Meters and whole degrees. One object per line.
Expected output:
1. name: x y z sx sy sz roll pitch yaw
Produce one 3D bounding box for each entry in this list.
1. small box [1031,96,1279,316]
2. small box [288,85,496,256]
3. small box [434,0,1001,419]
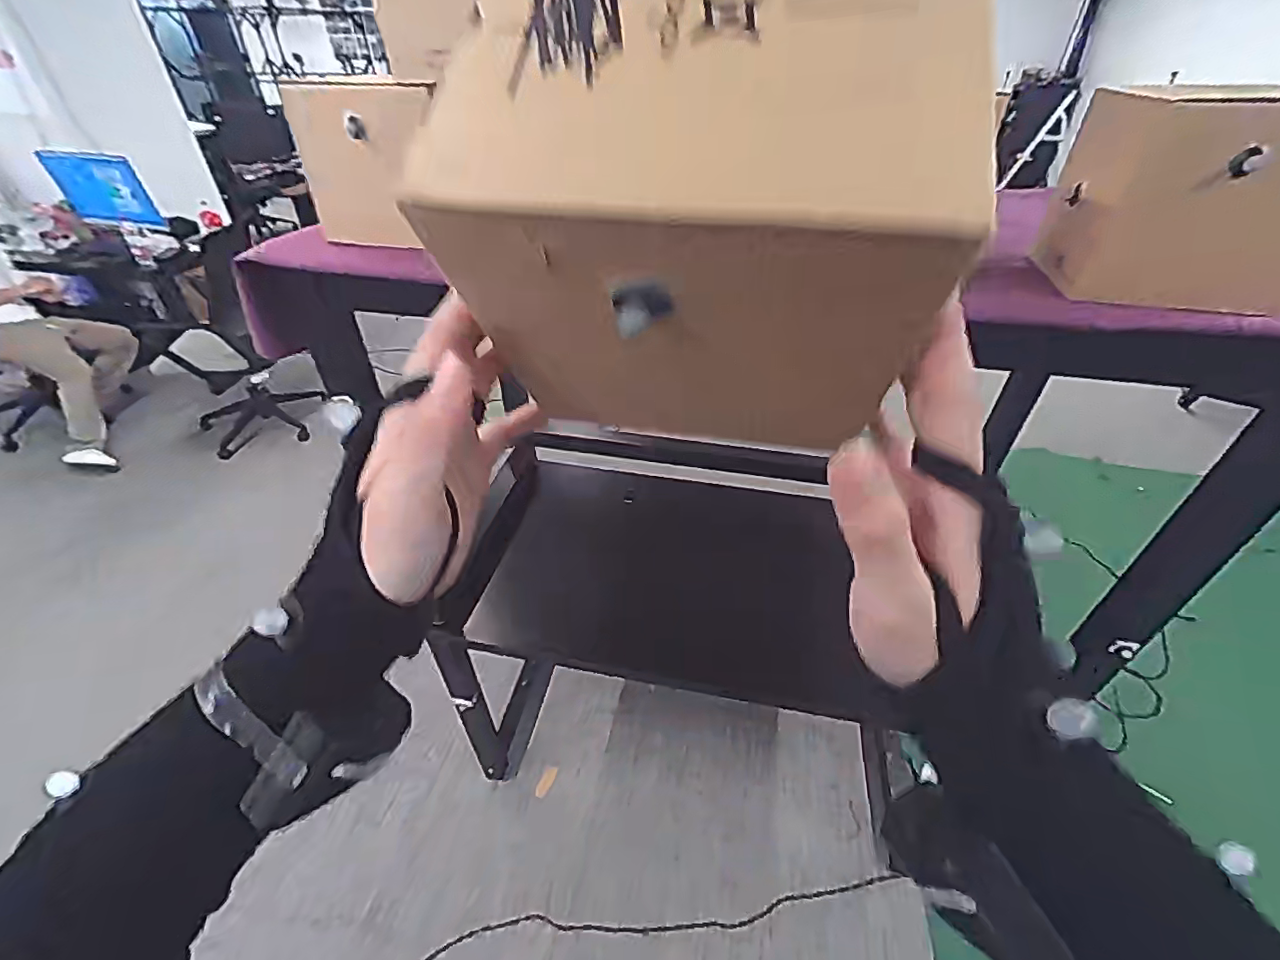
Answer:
1. small box: 0.527 -0.275 0.539 0.179 0.176 0.168 10 40 13
2. small box: -0.283 -0.390 0.679 0.179 0.176 0.168 8 38 8
3. small box: 0.039 -0.140 0.261 0.179 0.176 0.168 7 74 10
